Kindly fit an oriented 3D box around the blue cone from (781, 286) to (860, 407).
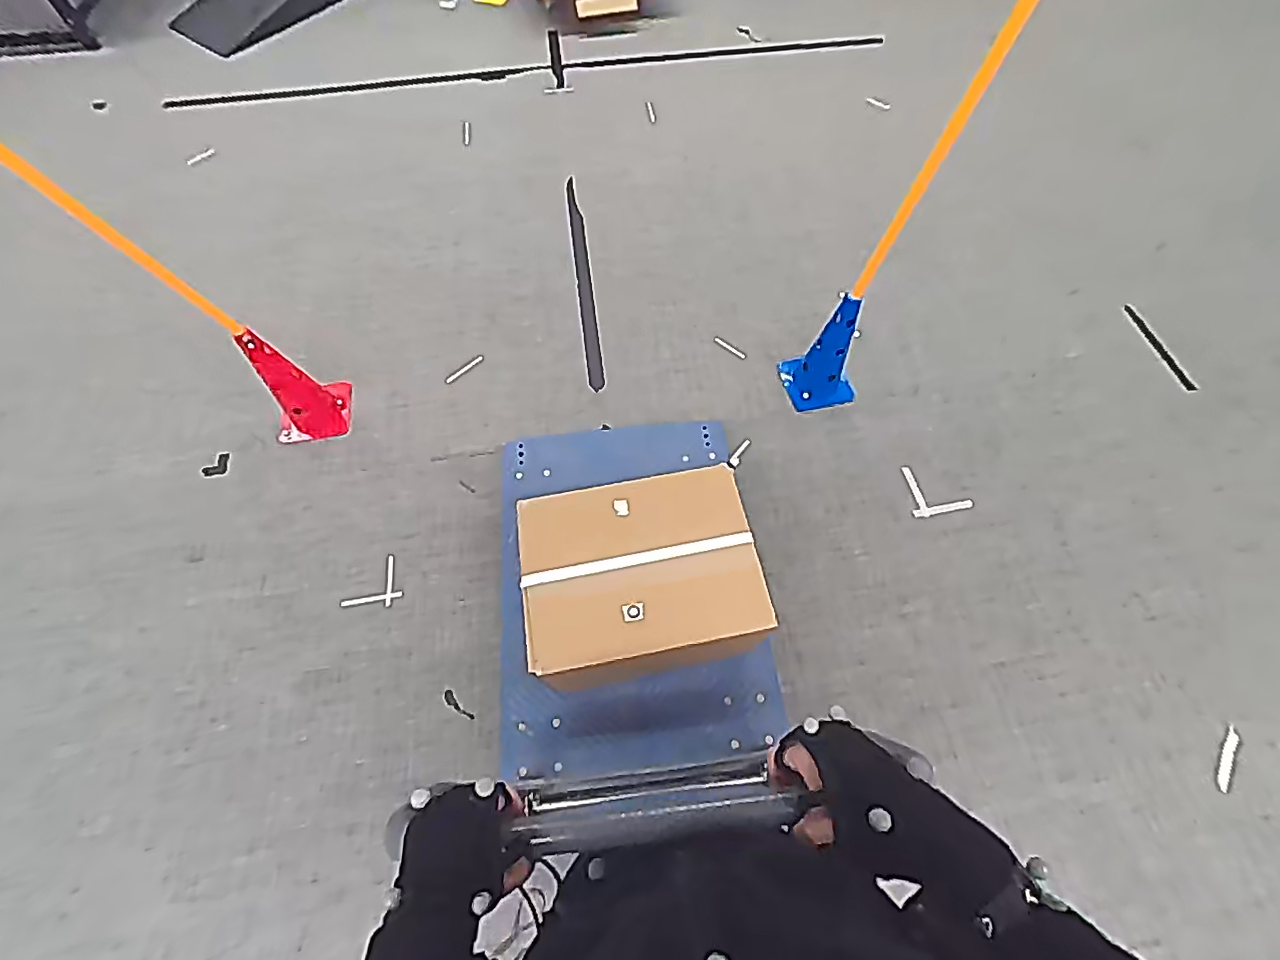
[{"bbox_3d":[0.556,-0.392,1.556,0.193,0.380,0.192,-11,62,-6],"label":"blue cone"}]
